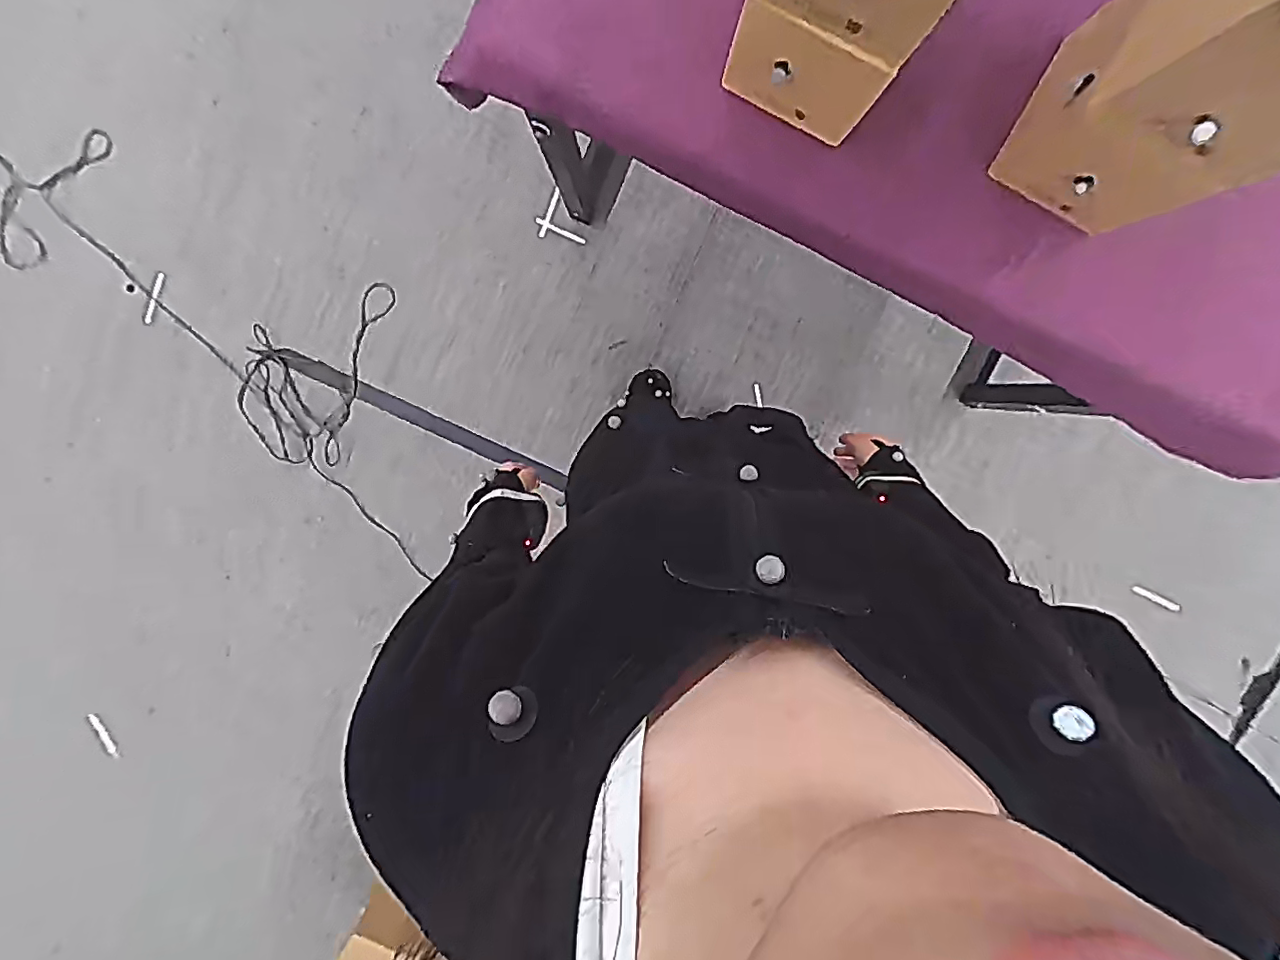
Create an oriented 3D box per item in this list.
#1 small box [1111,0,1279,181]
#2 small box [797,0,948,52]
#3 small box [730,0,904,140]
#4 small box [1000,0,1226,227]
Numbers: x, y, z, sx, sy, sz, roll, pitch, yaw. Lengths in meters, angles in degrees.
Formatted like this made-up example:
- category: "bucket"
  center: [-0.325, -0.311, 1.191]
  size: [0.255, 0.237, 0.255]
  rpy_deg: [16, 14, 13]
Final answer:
- category: "small box"
  center: [0.556, -0.390, 0.441]
  size: [0.168, 0.176, 0.179]
  rpy_deg: [27, 99, -4]
- category: "small box"
  center: [0.213, -0.497, 0.424]
  size: [0.168, 0.176, 0.179]
  rpy_deg: [22, 99, -4]
- category: "small box"
  center: [0.210, -0.517, 0.587]
  size: [0.168, 0.176, 0.179]
  rpy_deg: [25, 98, -4]
- category: "small box"
  center: [0.551, -0.416, 0.603]
  size: [0.168, 0.176, 0.179]
  rpy_deg: [27, 98, -5]
